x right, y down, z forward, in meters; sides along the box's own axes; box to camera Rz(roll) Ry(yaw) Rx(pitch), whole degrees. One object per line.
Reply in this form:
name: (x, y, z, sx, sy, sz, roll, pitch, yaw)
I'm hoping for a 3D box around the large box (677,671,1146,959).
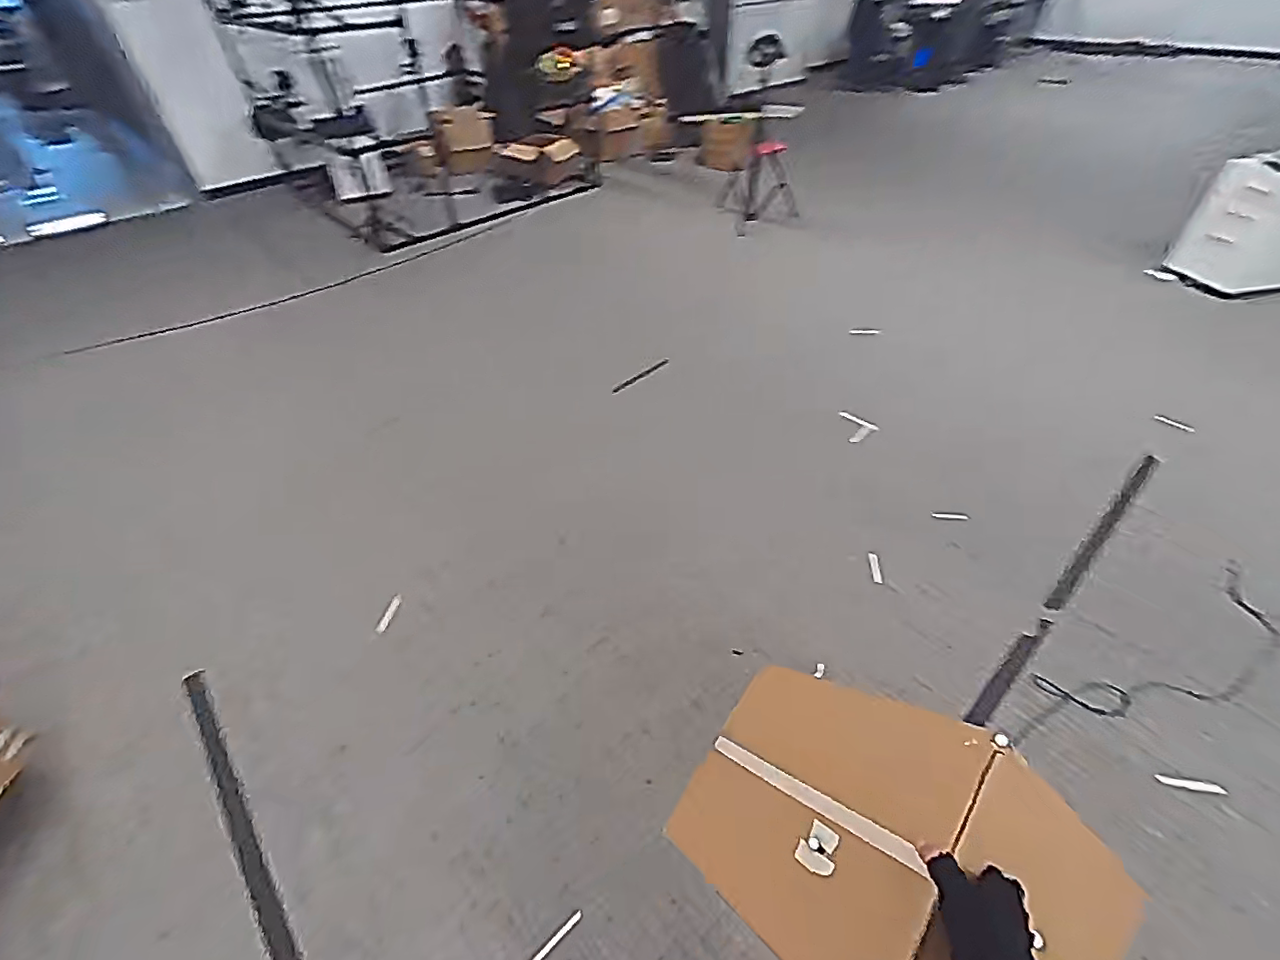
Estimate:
large box: (0.327, 0.516, 0.730, 0.320, 0.408, 0.320, 46, 69, -12)
